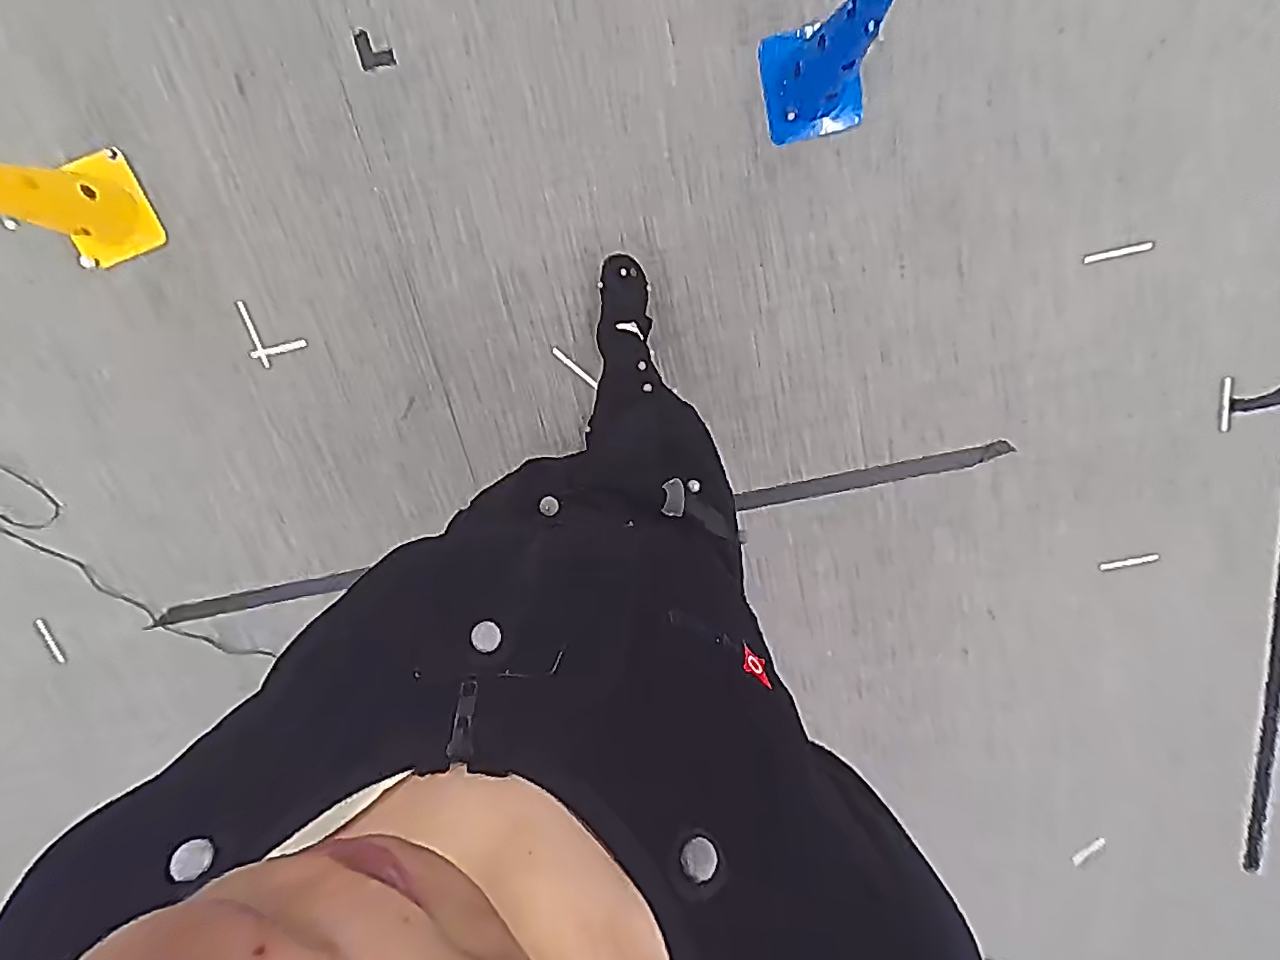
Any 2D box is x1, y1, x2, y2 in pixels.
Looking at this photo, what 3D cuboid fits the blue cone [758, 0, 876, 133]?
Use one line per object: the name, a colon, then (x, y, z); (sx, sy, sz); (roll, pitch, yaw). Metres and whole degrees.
blue cone: (0.350, -0.792, 0.959); (0.193, 0.380, 0.192); (-12, 104, 3)
